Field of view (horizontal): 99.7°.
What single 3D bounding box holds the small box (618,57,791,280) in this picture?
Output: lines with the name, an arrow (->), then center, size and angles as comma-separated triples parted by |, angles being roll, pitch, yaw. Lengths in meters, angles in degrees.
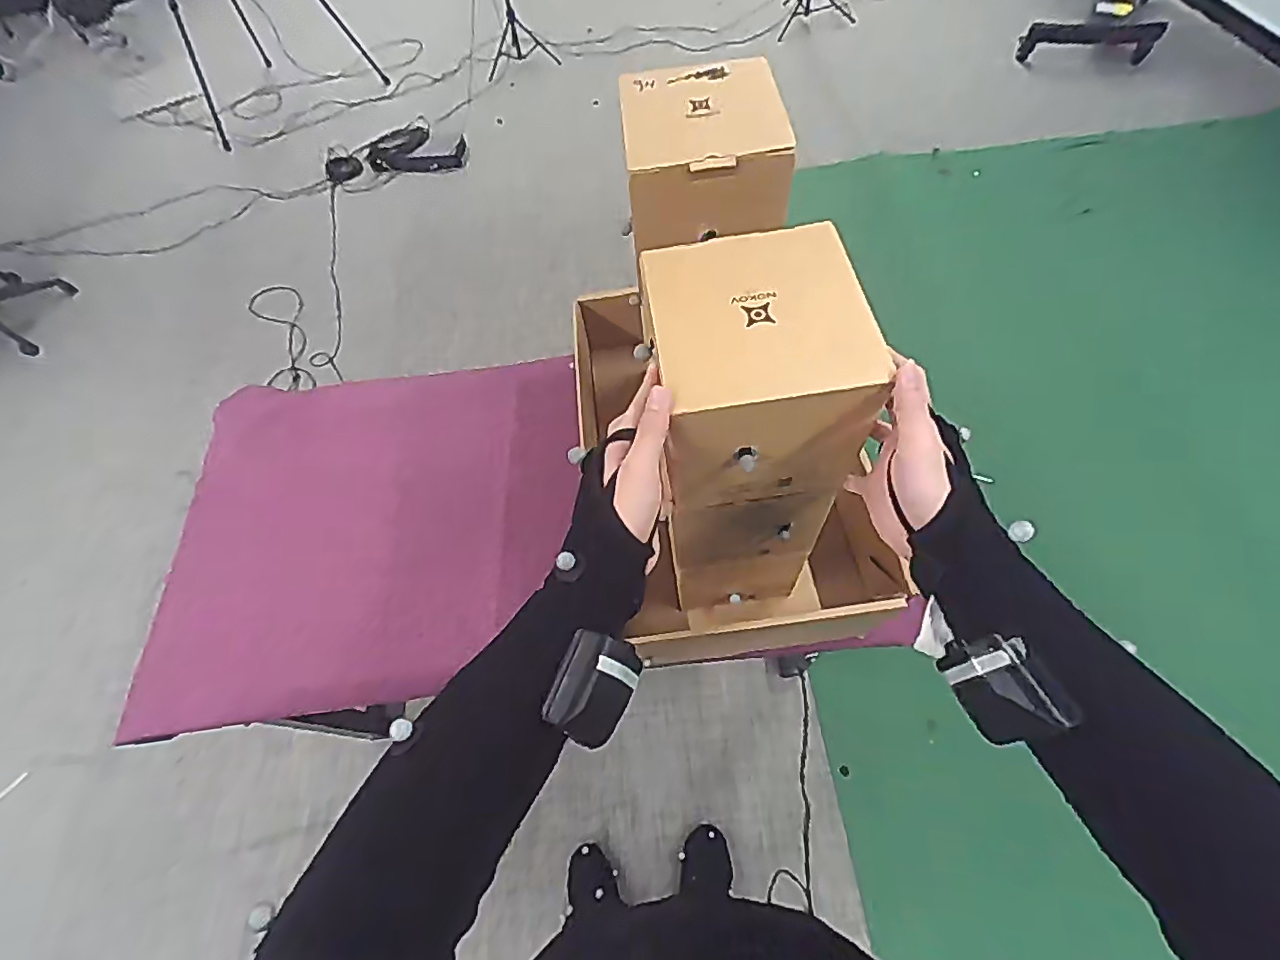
small box -> 0.068, -0.343, 0.630 | 0.168, 0.176, 0.179 | -6, 63, 2

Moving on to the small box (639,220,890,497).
small box -> 0.097, -0.096, 0.491 | 0.168, 0.176, 0.179 | -9, 61, 2

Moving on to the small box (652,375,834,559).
small box -> 0.109, -0.017, 0.632 | 0.168, 0.176, 0.179 | -8, 59, 2
